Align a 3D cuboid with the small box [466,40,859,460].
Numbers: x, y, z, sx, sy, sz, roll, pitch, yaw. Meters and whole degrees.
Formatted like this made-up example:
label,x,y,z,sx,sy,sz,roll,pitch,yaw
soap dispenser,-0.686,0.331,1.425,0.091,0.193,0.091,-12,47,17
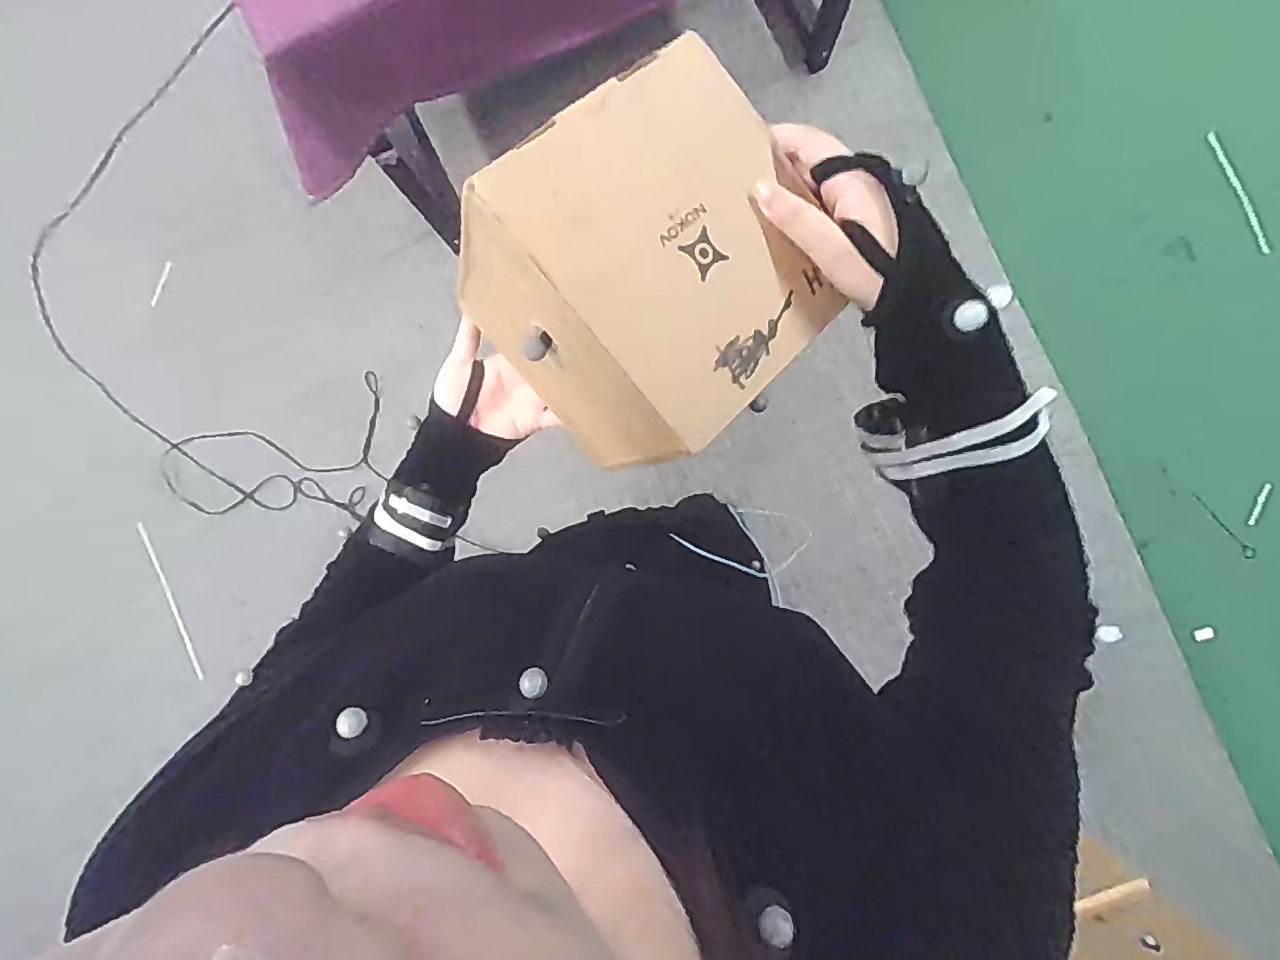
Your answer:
label,x,y,z,sx,sy,sz,roll,pitch,yaw
small box,0.000,-0.127,0.372,0.168,0.176,0.179,-45,104,-16
